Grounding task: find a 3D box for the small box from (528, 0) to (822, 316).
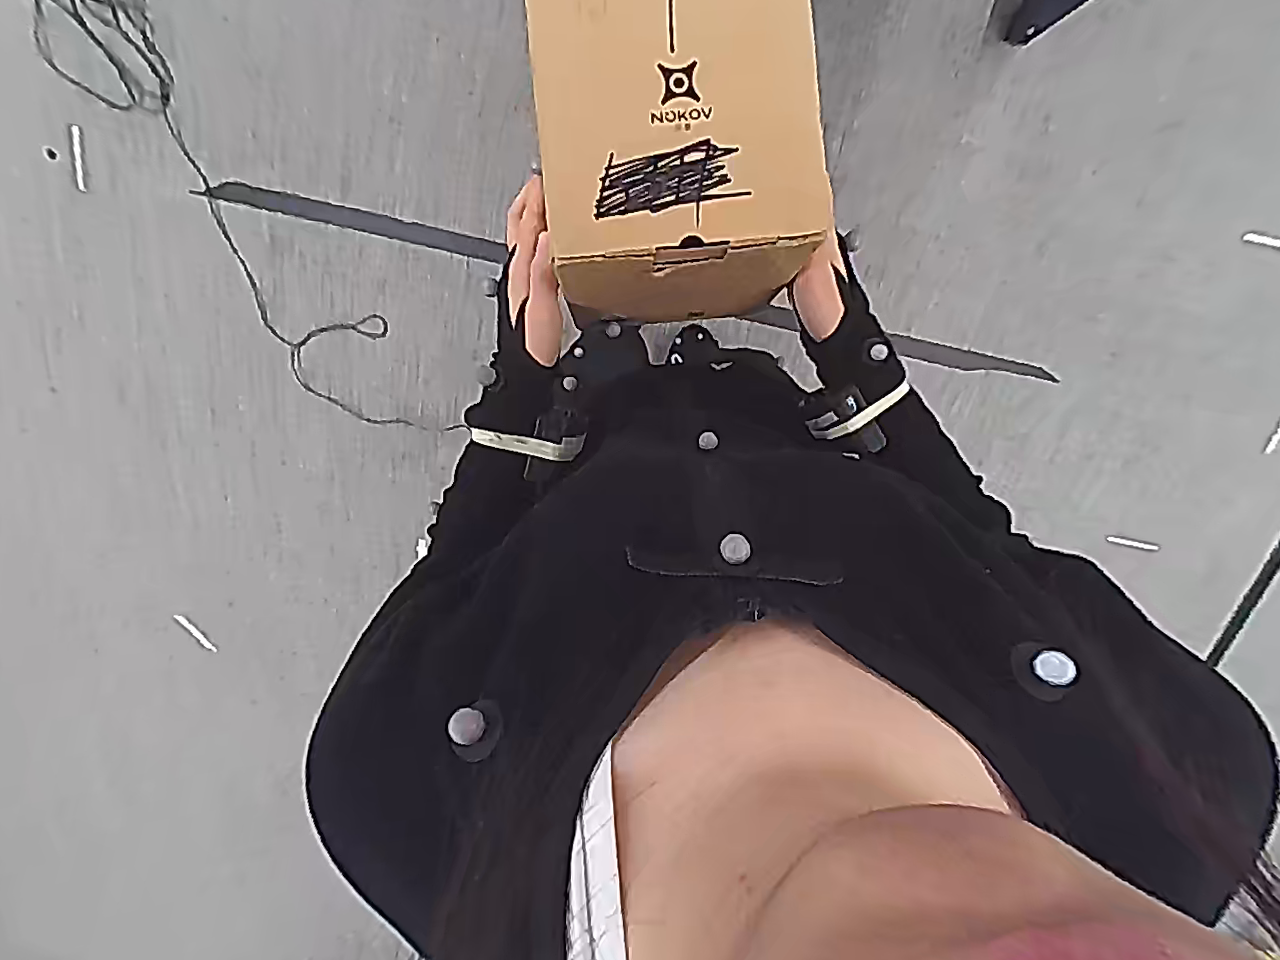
[{"bbox_3d":[0.020,-0.227,0.396,0.168,0.176,0.179,-5,91,-2],"label":"small box"}]
